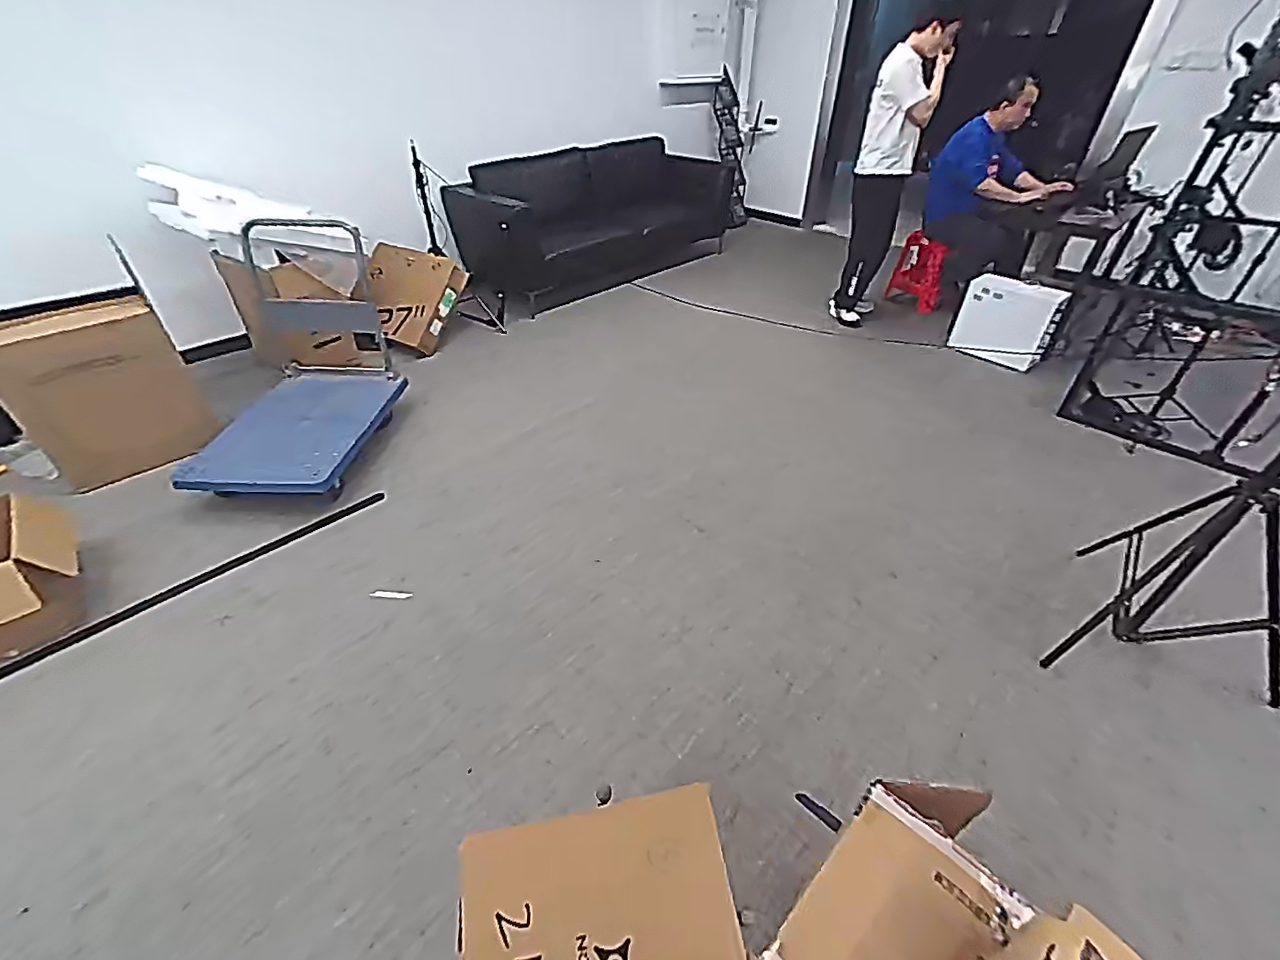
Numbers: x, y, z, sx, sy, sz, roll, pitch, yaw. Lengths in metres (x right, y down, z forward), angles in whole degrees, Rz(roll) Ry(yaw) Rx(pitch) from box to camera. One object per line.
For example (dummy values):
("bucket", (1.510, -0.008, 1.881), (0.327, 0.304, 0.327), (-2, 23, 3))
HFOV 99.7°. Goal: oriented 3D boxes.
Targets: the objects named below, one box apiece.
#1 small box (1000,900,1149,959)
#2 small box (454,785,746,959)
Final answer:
("small box", (0.483, 0.609, 0.574), (0.168, 0.176, 0.179), (-28, 49, -28))
("small box", (-0.019, 0.332, 0.392), (0.179, 0.176, 0.168), (-13, 58, -1))
